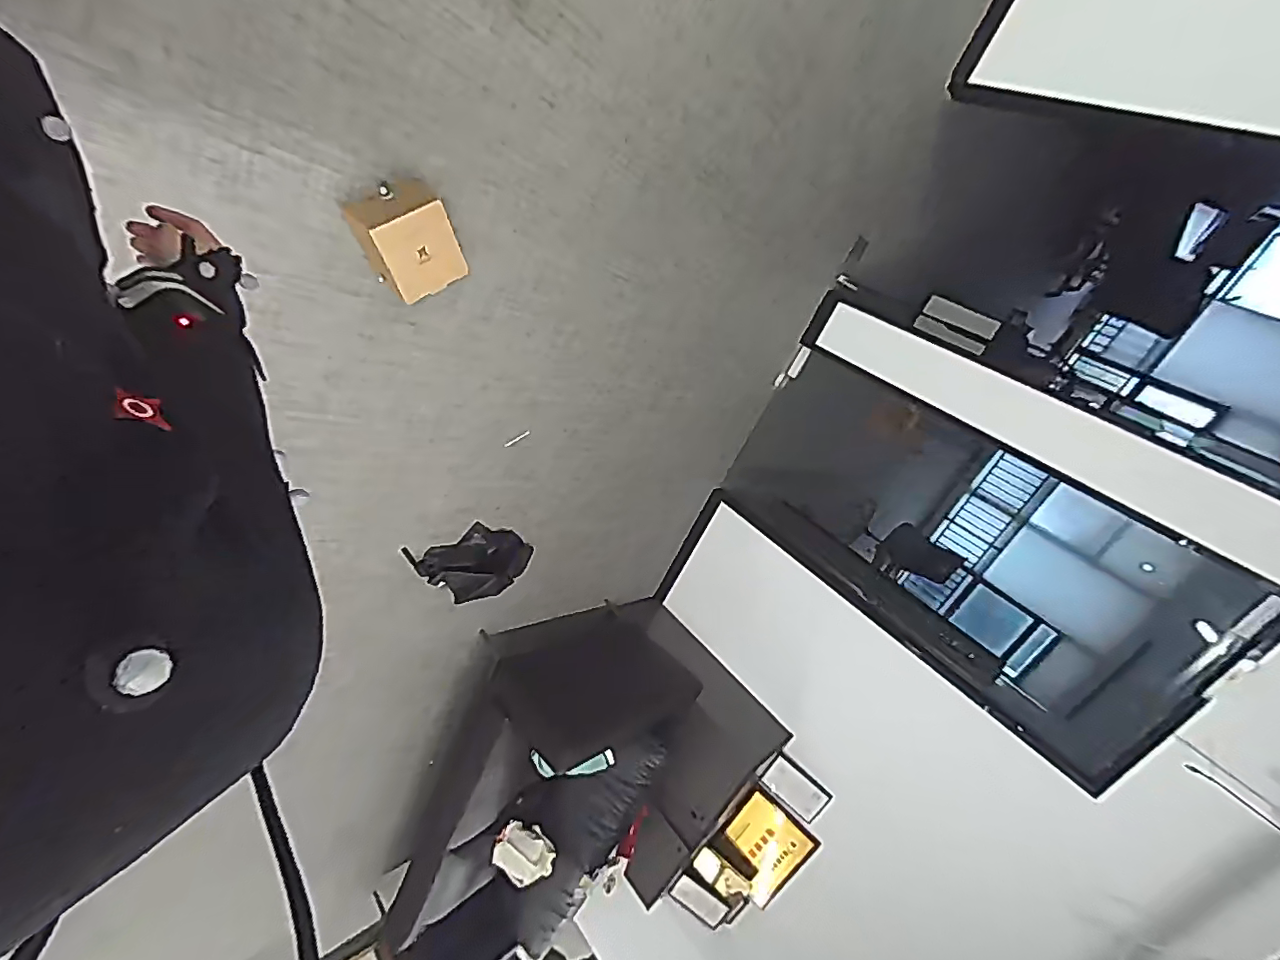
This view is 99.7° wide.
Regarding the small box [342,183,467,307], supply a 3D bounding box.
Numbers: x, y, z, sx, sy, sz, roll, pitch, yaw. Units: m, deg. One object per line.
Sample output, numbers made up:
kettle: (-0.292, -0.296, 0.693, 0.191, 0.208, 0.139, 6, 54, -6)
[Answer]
small box: (-0.521, -0.525, 1.202, 0.168, 0.176, 0.179, -38, 146, -19)
